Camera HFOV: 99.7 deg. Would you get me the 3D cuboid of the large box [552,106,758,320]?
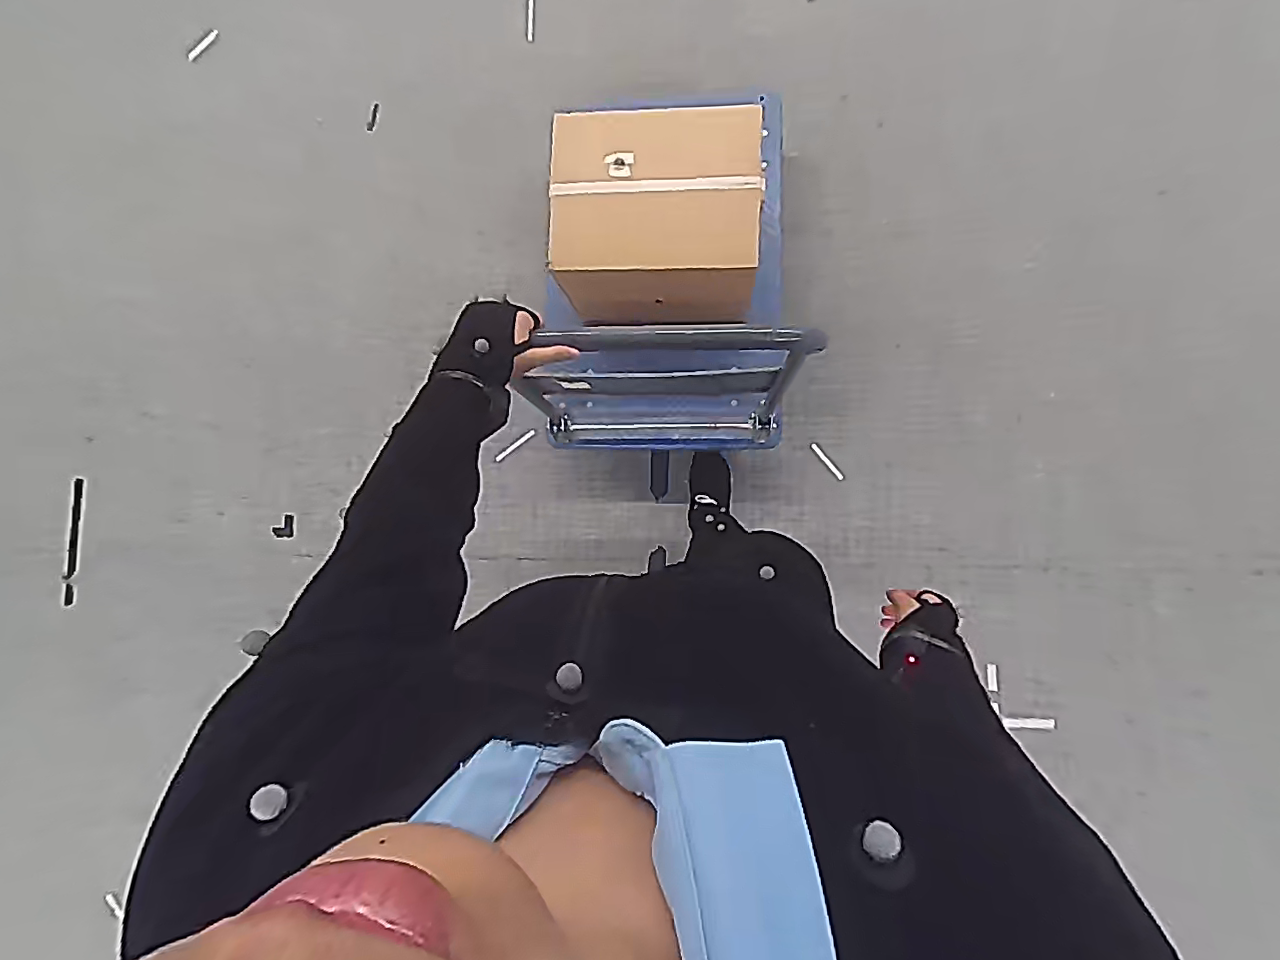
[{"bbox_3d":[0.047,-0.554,1.192,0.408,0.320,0.320,2,87,8],"label":"large box"}]
